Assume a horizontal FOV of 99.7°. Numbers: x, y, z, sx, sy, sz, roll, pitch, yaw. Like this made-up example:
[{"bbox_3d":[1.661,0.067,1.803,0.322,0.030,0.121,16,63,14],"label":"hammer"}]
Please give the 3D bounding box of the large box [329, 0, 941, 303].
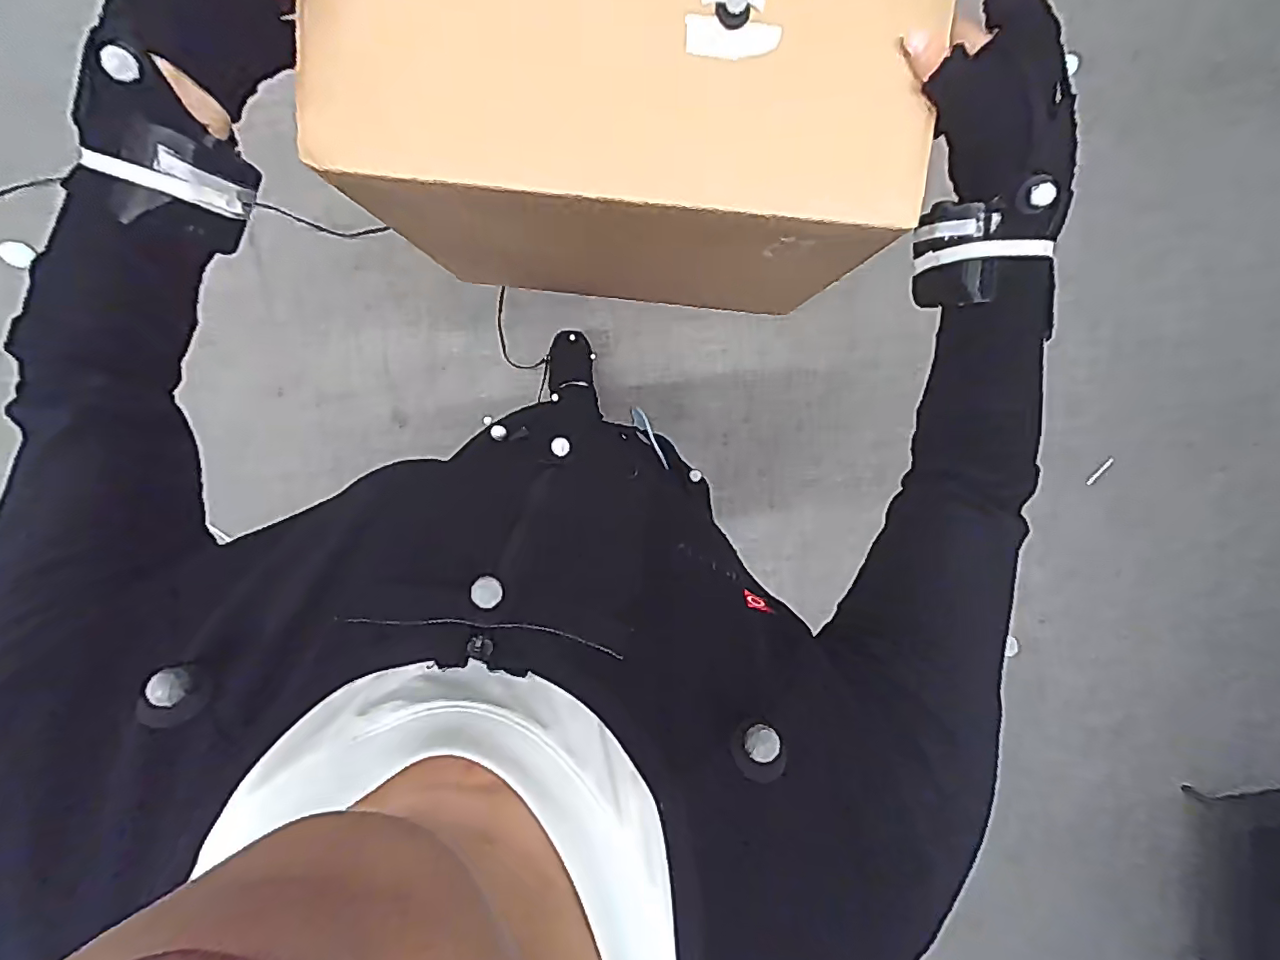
[{"bbox_3d":[0.000,-0.362,0.495,0.408,0.320,0.320,5,97,-1],"label":"large box"}]
